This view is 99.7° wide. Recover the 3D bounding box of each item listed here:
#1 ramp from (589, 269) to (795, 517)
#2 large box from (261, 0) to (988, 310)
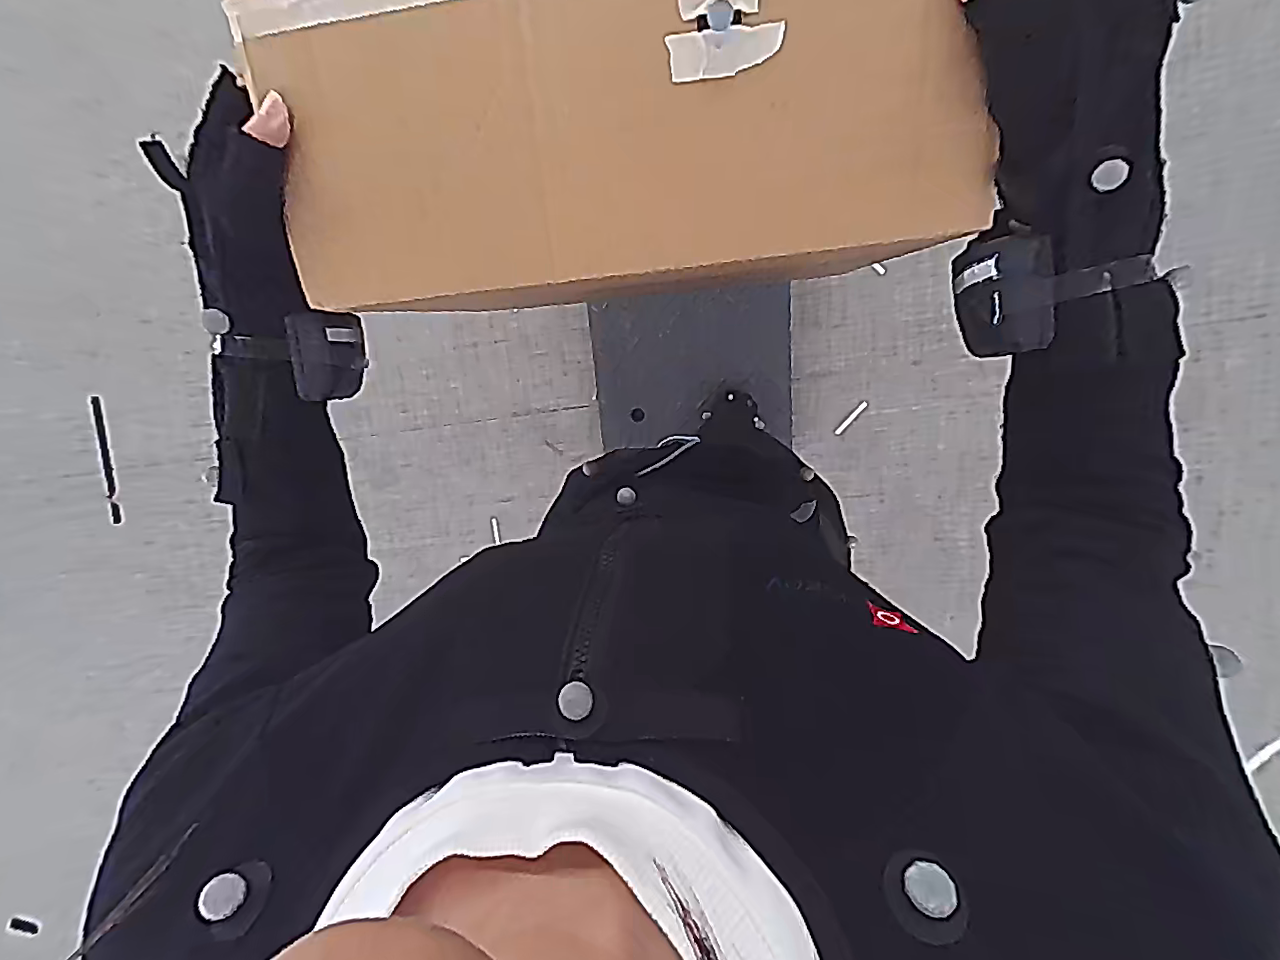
[{"bbox_3d":[0.124,-0.386,1.327,0.509,0.206,0.991,-5,97,8],"label":"ramp"},{"bbox_3d":[-0.008,-0.322,0.430,0.408,0.320,0.320,-4,107,8],"label":"large box"}]
